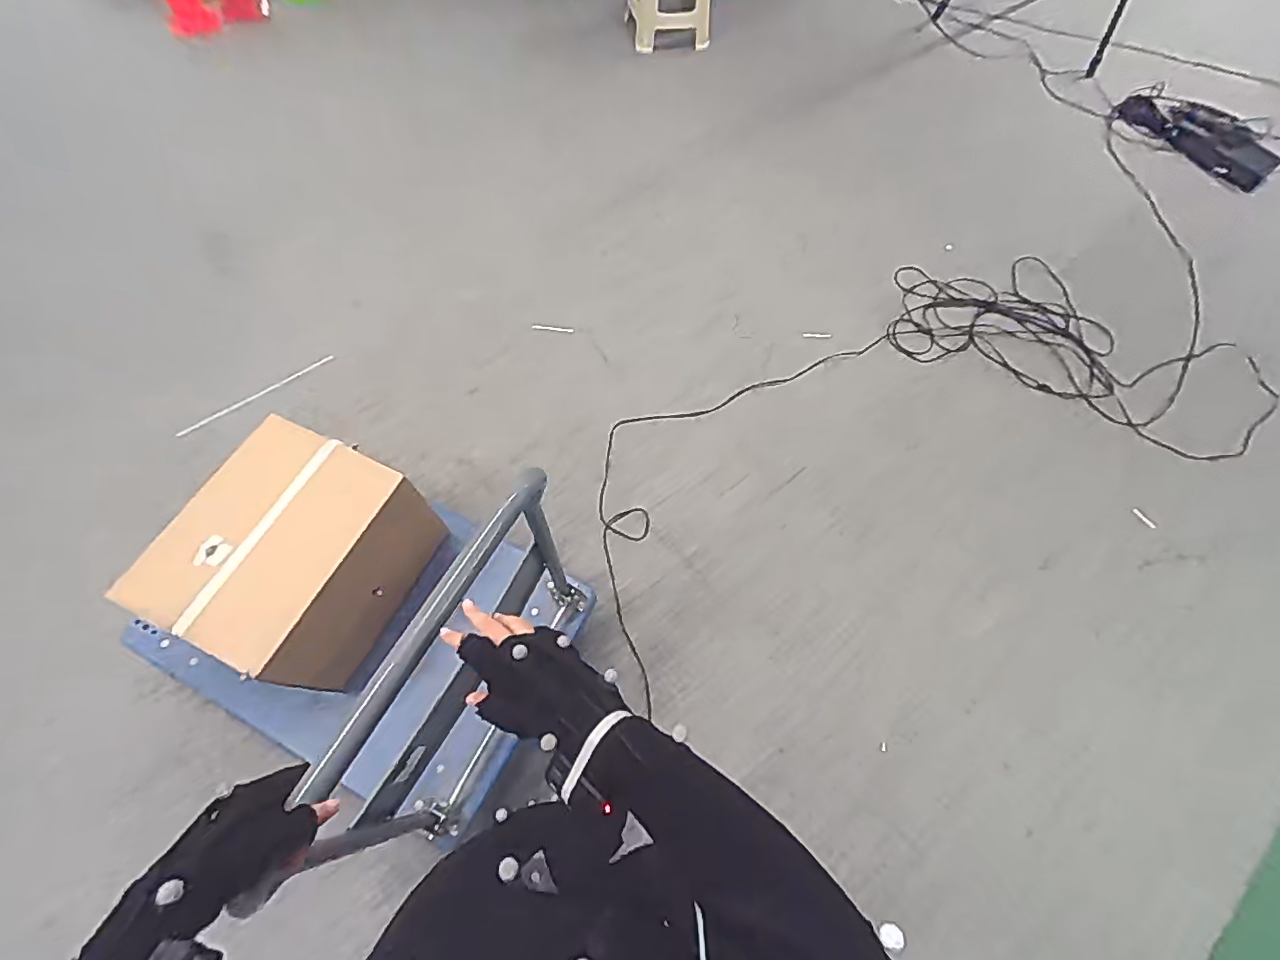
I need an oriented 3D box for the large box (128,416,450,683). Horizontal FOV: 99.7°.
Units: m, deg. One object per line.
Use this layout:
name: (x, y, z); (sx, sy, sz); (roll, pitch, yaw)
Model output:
large box: (-0.660, 0.152, 1.109); (0.320, 0.320, 0.408); (24, 67, 9)
